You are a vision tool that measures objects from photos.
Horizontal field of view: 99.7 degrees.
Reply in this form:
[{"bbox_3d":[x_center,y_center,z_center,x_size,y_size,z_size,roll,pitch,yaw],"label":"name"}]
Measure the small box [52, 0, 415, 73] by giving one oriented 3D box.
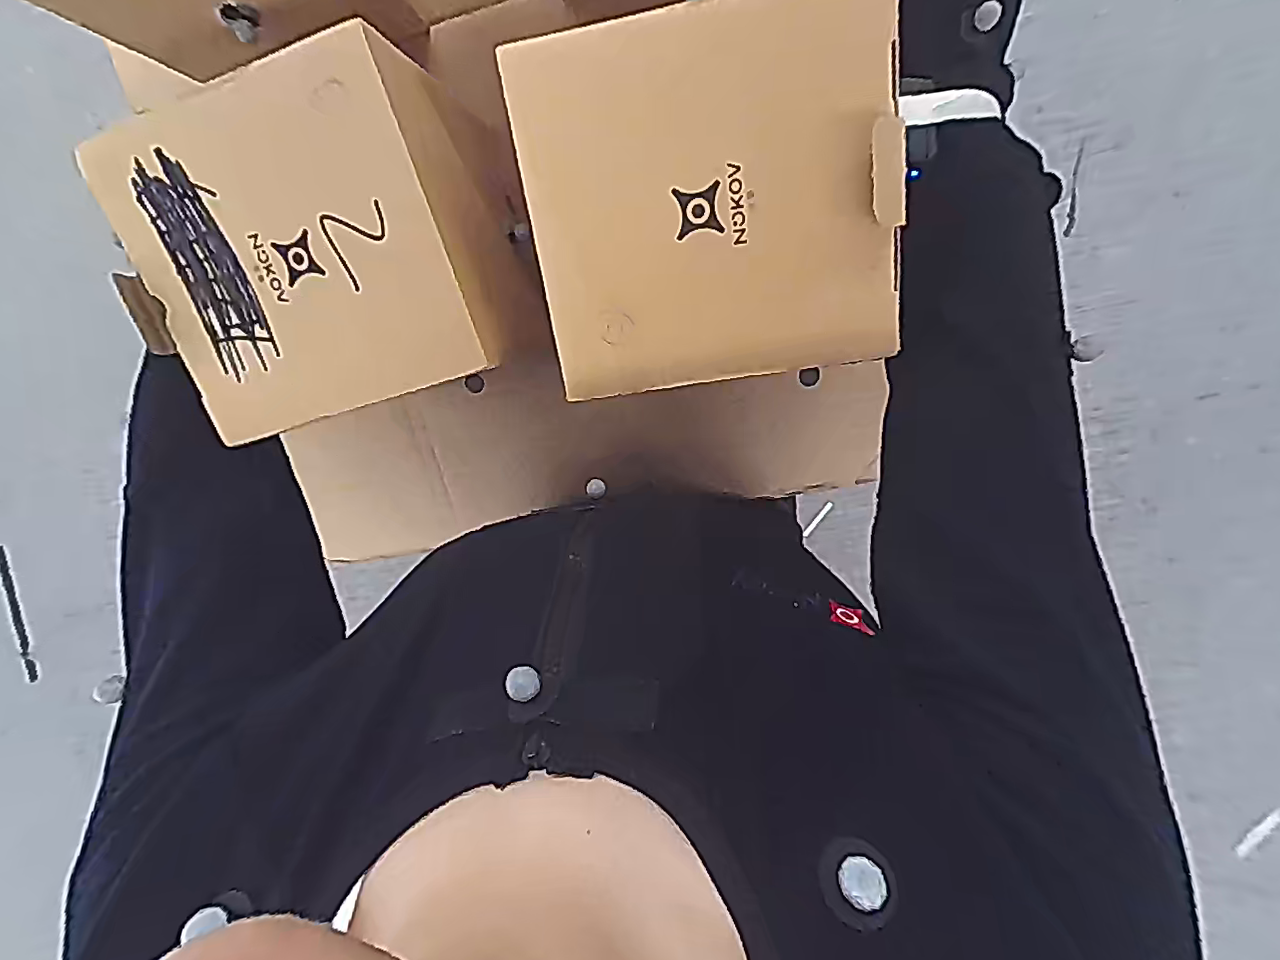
[{"bbox_3d":[-0.259,-0.371,0.305,0.168,0.176,0.179,-11,104,10],"label":"small box"}]
